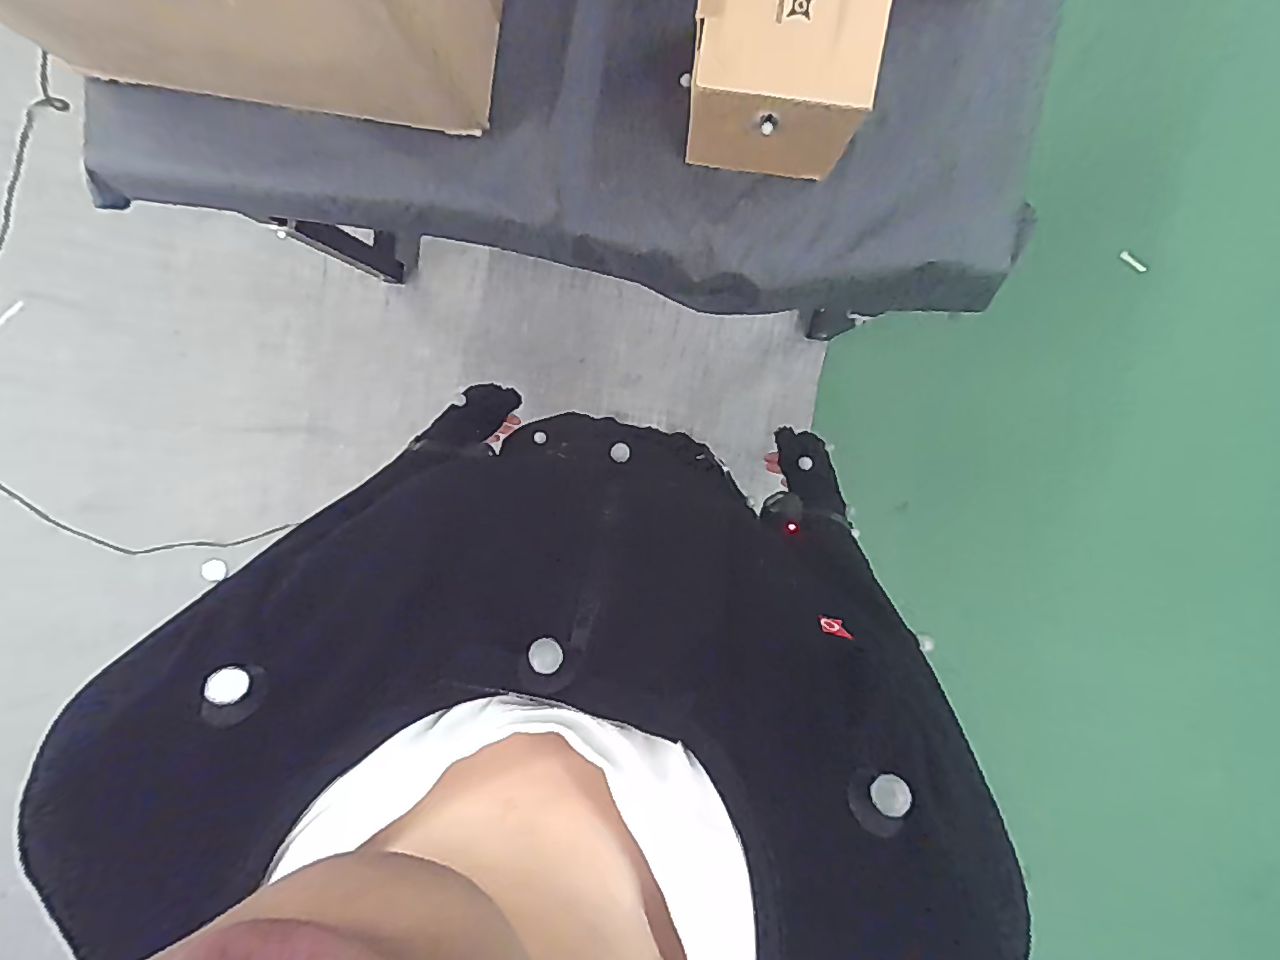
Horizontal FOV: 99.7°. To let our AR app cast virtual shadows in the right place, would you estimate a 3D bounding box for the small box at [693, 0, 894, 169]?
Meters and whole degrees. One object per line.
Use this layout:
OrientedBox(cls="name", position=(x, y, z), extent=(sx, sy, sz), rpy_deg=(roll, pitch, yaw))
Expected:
OrientedBox(cls="small box", position=(0.157, -0.467, 0.591), extent=(0.179, 0.176, 0.168), rpy_deg=(9, 99, 1))
